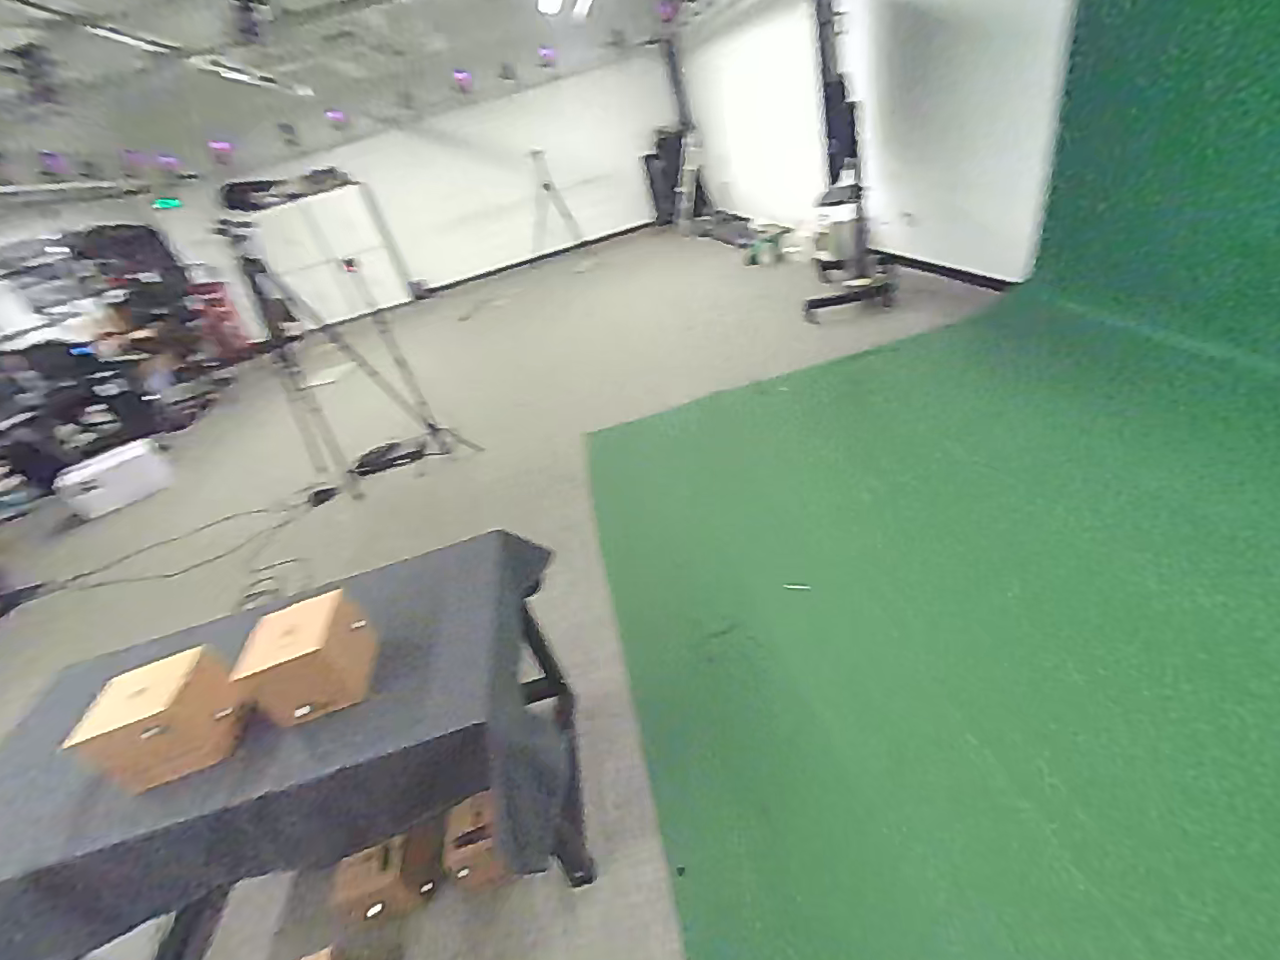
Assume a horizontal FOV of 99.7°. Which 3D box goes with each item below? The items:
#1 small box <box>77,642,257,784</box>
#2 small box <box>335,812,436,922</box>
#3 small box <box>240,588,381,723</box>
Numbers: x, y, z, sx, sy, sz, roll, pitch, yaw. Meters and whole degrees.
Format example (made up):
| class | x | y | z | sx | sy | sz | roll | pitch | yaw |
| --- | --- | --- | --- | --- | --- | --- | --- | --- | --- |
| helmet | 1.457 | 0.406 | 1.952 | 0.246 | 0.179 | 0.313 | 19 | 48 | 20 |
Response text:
| class | x | y | z | sx | sy | sz | roll | pitch | yaw |
| --- | --- | --- | --- | --- | --- | --- | --- | --- | --- |
| small box | -0.923 | 0.465 | 1.078 | 0.179 | 0.176 | 0.168 | -20 | 32 | -5 |
| small box | -0.670 | 1.038 | 1.451 | 0.179 | 0.176 | 0.168 | -19 | 32 | -2 |
| small box | -0.663 | 0.361 | 1.117 | 0.168 | 0.176 | 0.179 | -20 | 32 | -3 |
